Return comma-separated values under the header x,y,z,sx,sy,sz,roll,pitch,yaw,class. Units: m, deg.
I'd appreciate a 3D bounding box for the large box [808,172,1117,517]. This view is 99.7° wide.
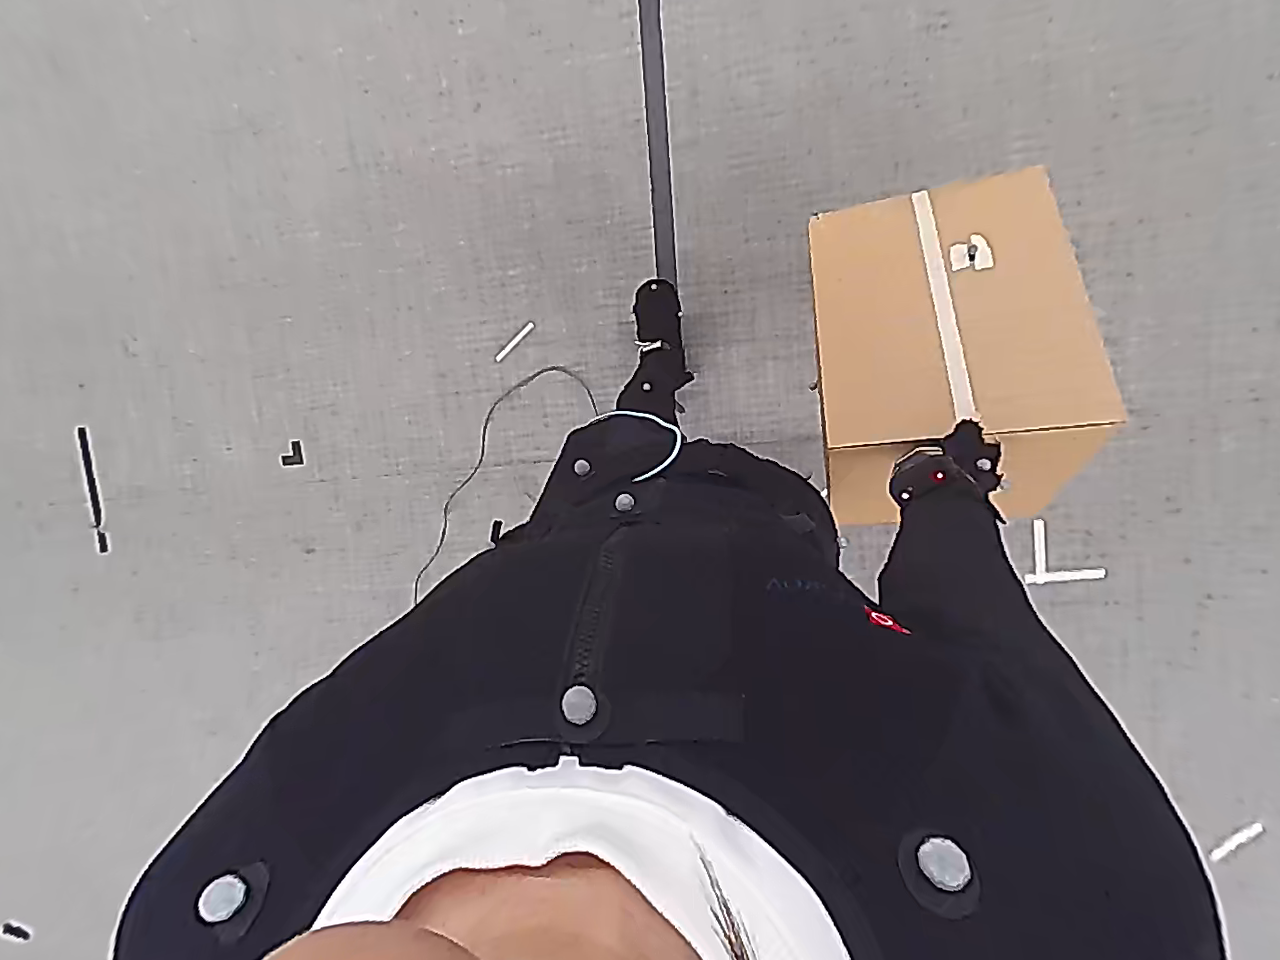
x,y,z,sx,sy,sz,roll,pitch,yaw,class
0.451,-0.184,0.861,0.320,0.320,0.408,-4,66,17,large box
